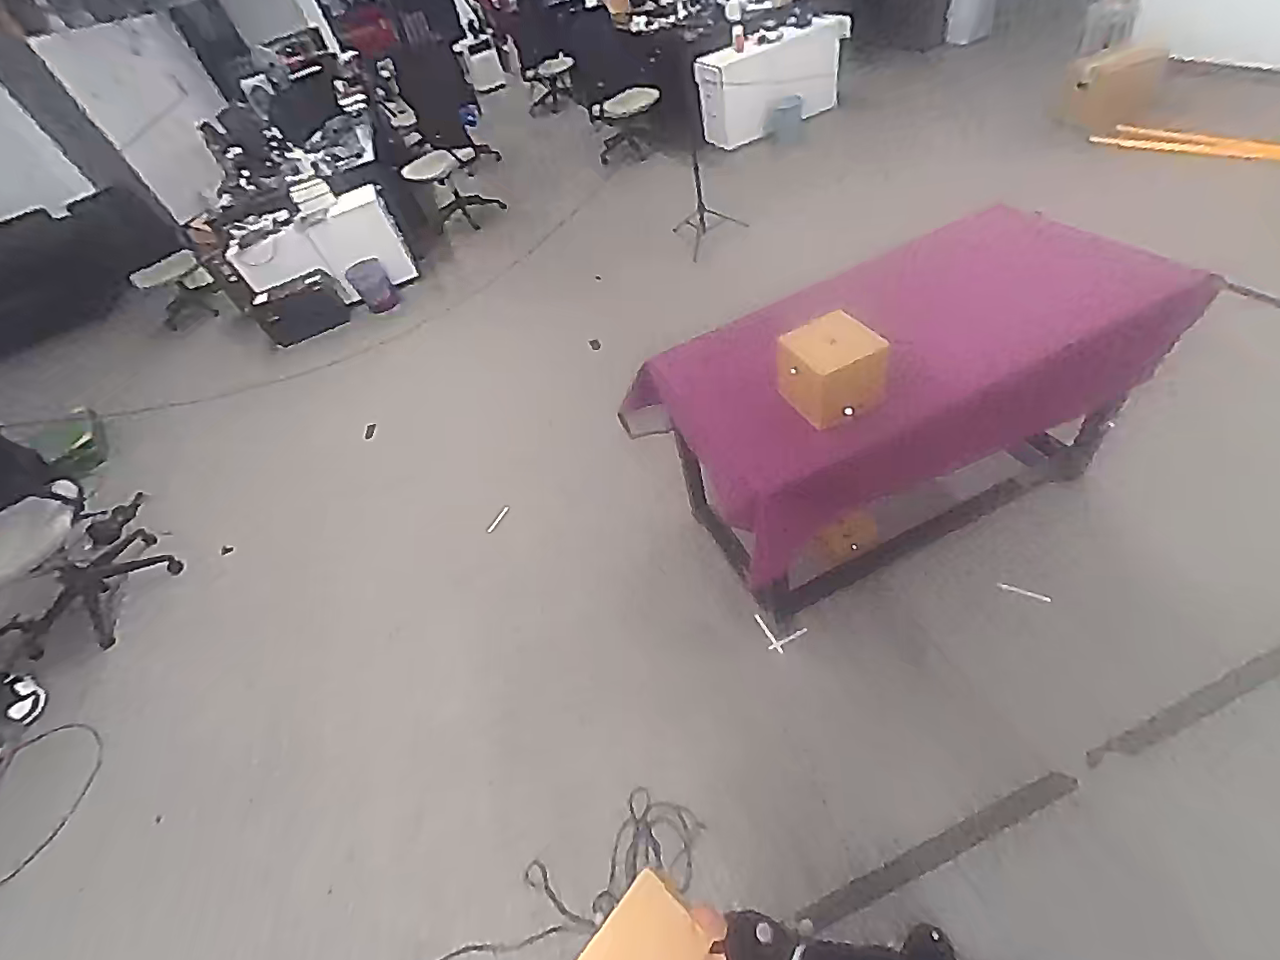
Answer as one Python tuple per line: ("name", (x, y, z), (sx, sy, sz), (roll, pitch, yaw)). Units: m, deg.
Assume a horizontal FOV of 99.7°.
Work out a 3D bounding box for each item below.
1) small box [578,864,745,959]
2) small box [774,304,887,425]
("small box", (0.026, 0.597, 0.629), (0.168, 0.176, 0.179), (32, 63, 31))
("small box", (0.415, -0.254, 1.199), (0.168, 0.176, 0.179), (-26, 48, -4))
